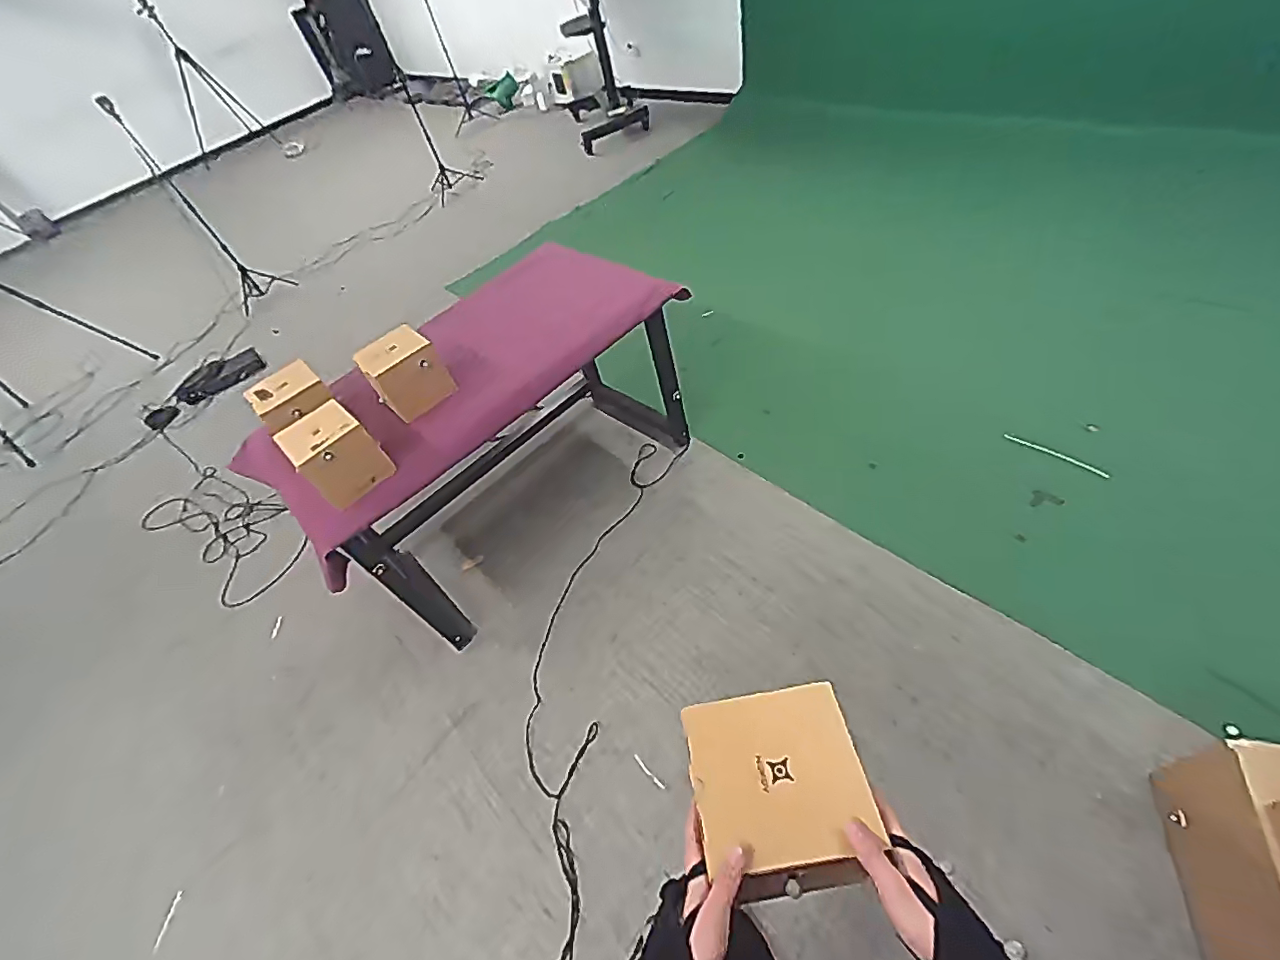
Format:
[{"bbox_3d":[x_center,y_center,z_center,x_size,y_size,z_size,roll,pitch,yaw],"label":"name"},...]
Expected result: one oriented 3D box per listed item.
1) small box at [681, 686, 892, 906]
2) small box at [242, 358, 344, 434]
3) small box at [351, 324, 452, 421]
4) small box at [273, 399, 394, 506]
[{"bbox_3d":[0.151,0.358,0.609,0.179,0.176,0.168,-12,45,2],"label":"small box"},{"bbox_3d":[-0.943,-0.200,1.498,0.179,0.176,0.168,-41,53,-20],"label":"small box"},{"bbox_3d":[-0.650,-0.297,1.500,0.179,0.176,0.168,-41,52,-19],"label":"small box"},{"bbox_3d":[-0.748,-0.065,1.330,0.179,0.176,0.168,32,65,36],"label":"small box"}]
